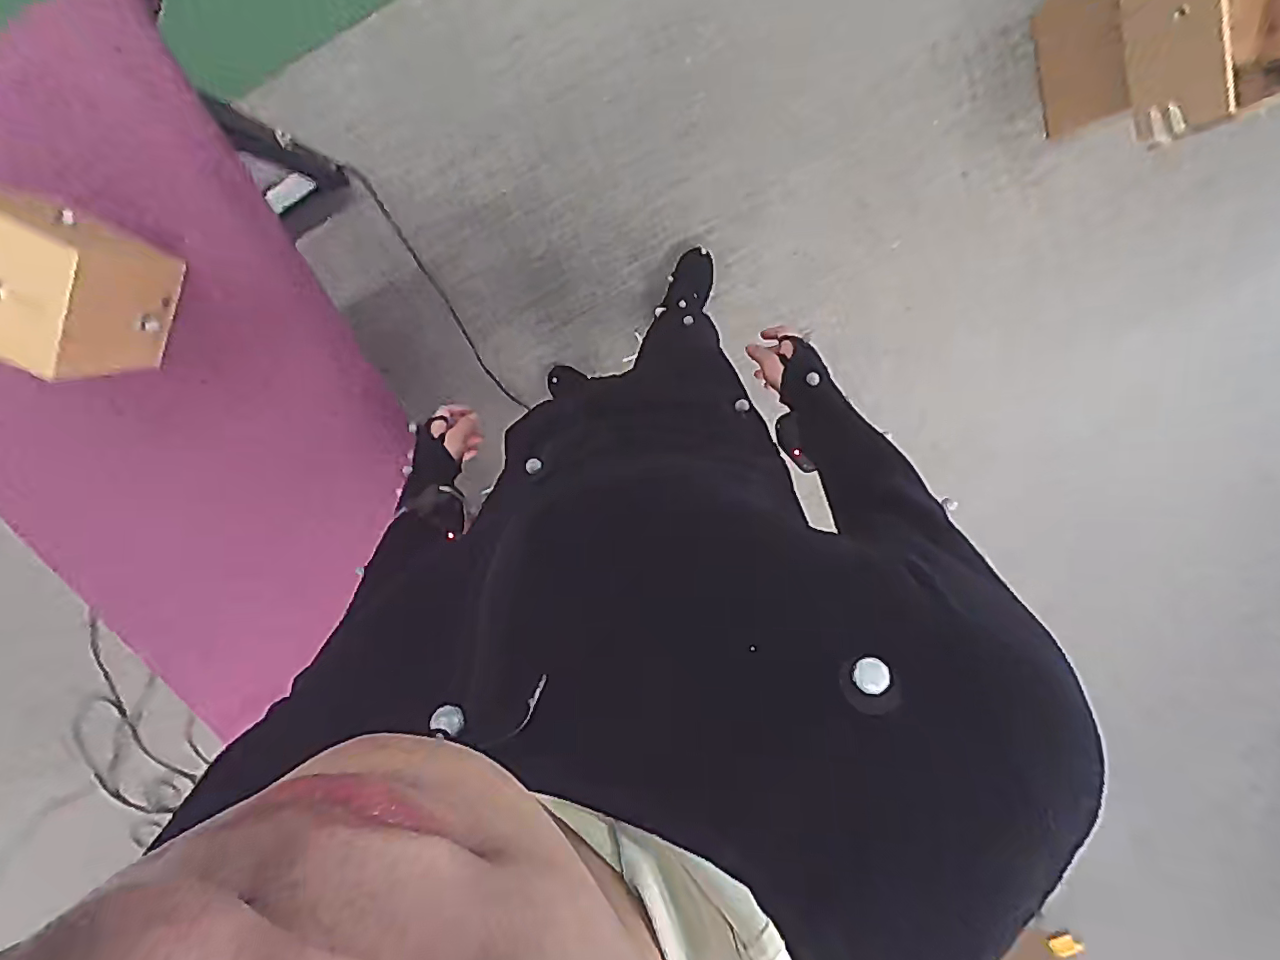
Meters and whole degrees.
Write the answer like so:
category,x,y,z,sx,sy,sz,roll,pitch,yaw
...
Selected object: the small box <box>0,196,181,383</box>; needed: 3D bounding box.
category,x,y,z,sx,sy,sz,roll,pitch,yaw
small box,-0.753,-0.244,0.689,0.179,0.176,0.168,26,105,-11
